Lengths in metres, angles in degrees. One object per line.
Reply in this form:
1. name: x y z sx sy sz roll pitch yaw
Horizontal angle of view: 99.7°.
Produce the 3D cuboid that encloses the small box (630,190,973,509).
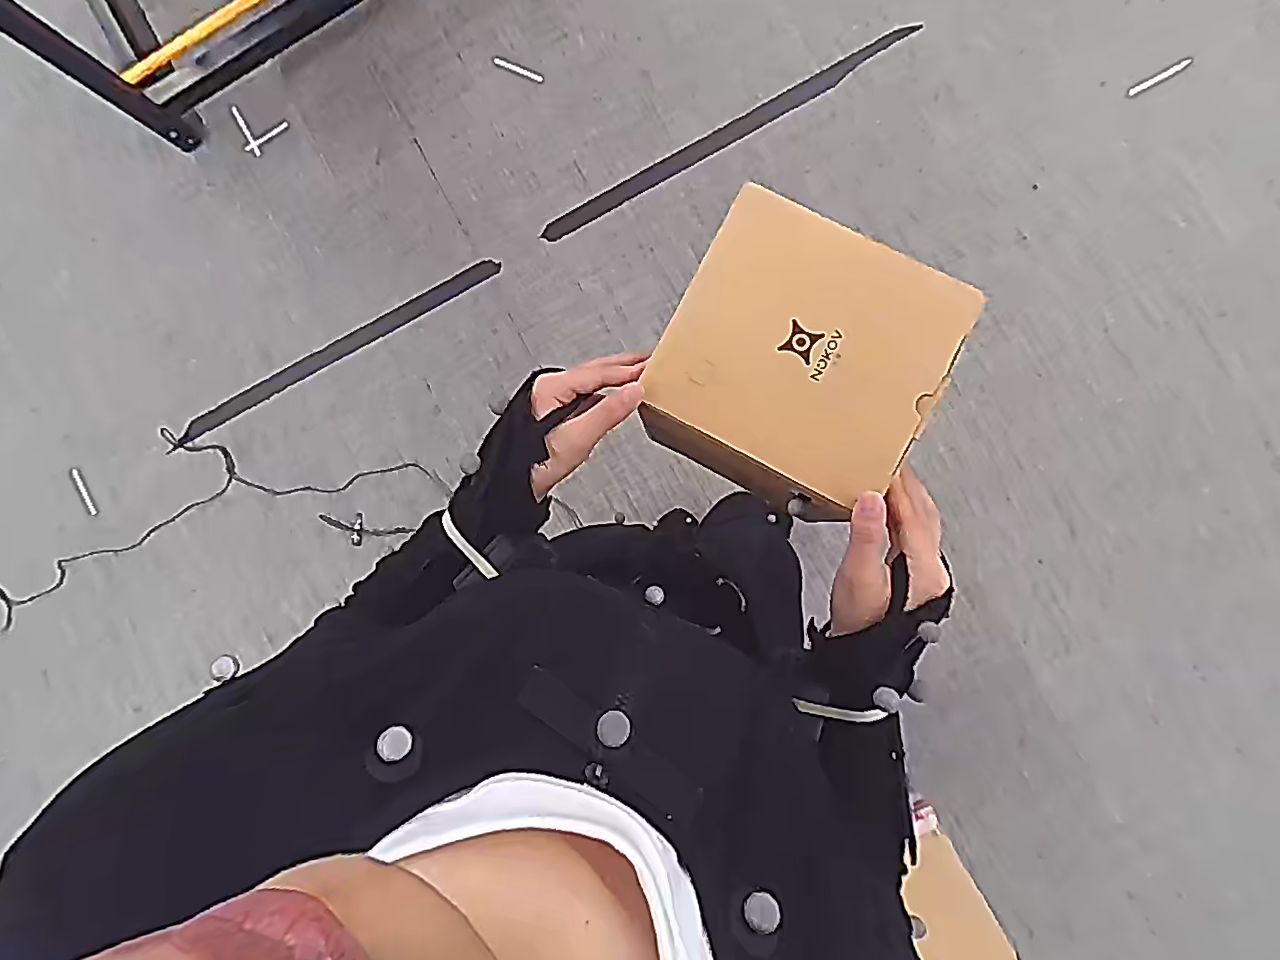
1. small box: 0.110 -0.082 0.437 0.179 0.176 0.168 28 88 5
